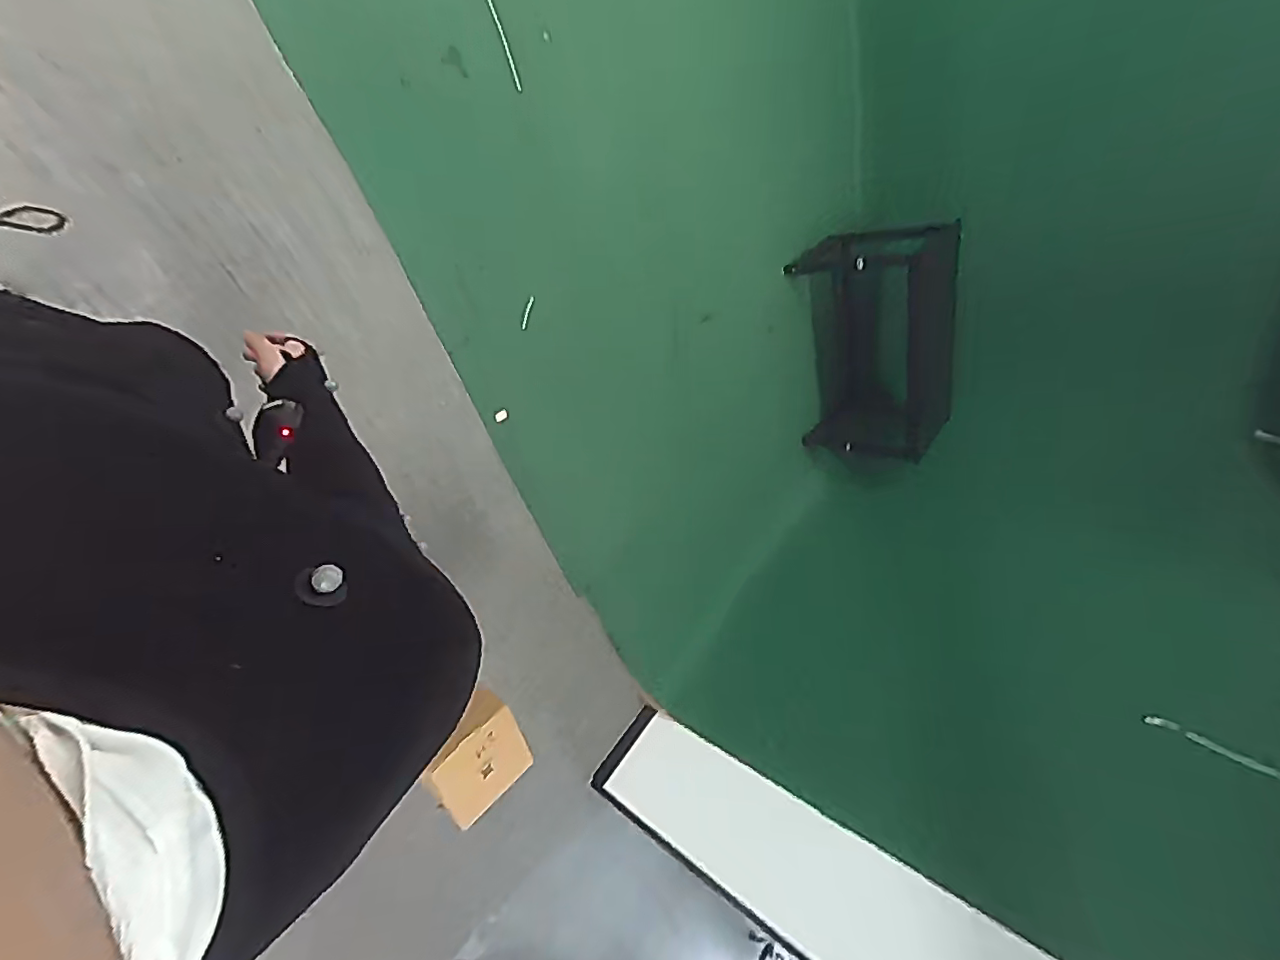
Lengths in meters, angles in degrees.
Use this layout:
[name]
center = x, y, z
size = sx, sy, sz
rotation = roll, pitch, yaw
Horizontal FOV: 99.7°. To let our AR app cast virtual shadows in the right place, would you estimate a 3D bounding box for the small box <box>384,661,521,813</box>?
[small box]
center = -0.367, 0.493, 1.062
size = 0.168, 0.176, 0.179
rotation = -36, 127, -37
